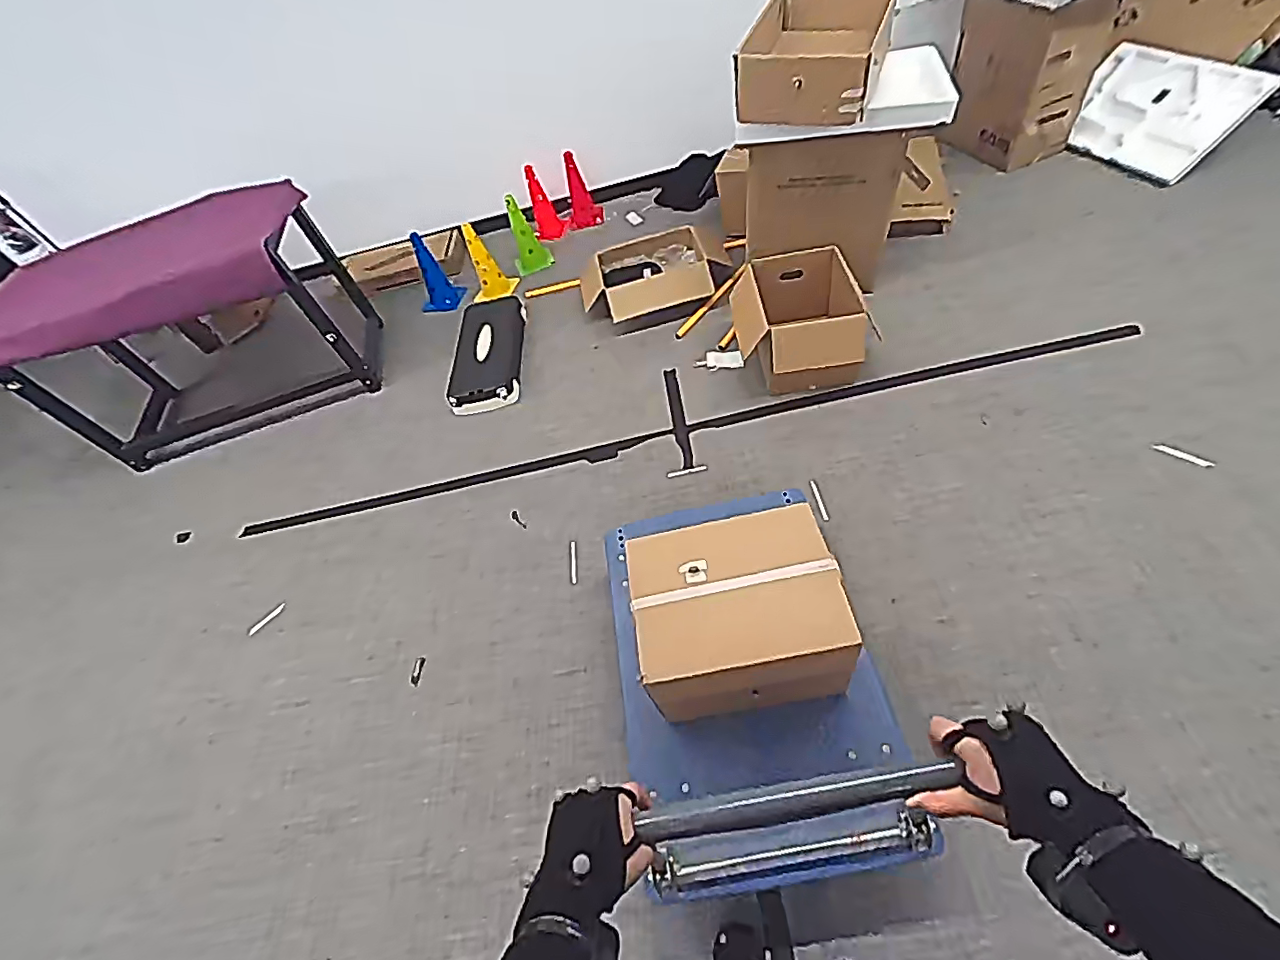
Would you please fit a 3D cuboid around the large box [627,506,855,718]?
[{"bbox_3d":[0.214,0.305,1.205,0.408,0.320,0.320,-14,51,5],"label":"large box"}]
